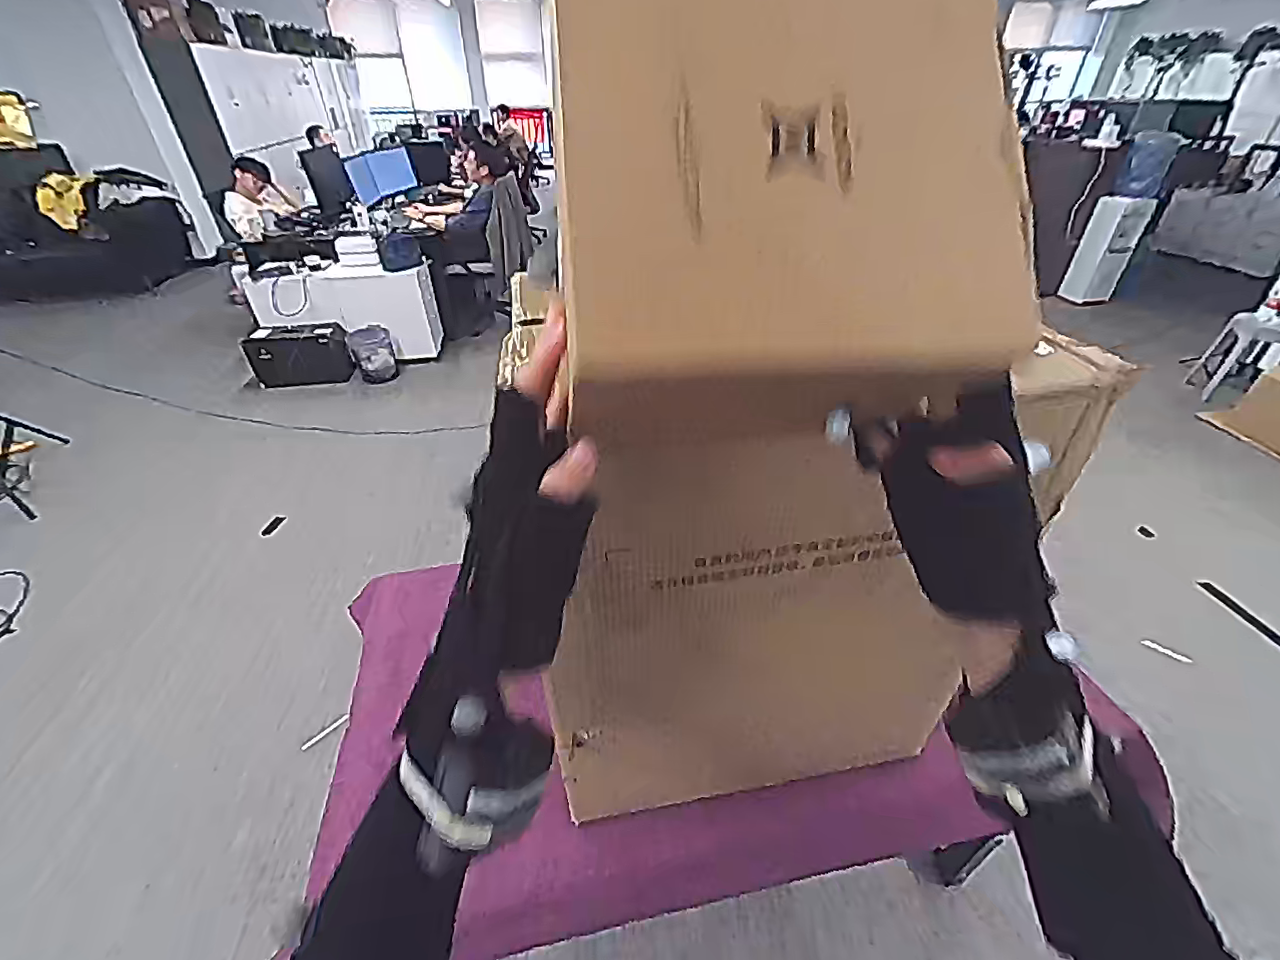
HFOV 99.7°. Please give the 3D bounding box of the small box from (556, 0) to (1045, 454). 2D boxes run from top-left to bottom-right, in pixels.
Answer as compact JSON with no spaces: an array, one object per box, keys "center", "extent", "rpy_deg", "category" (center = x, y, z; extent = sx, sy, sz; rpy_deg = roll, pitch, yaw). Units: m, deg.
[{"center":[0.050,-0.106,0.273],"extent":[0.179,0.168,0.176],"rpy_deg":[-4,-4,-7],"category":"small box"}]
